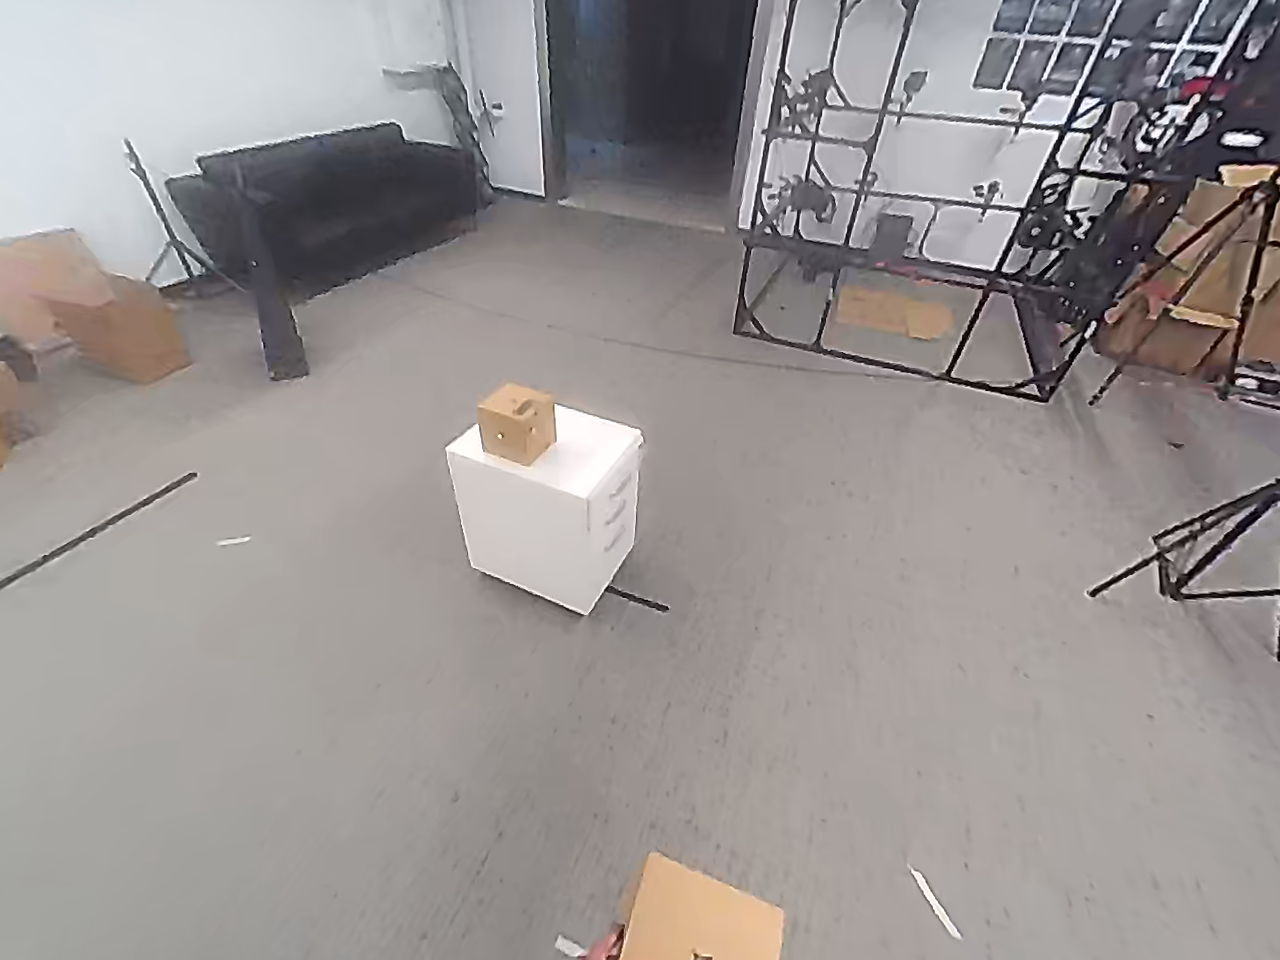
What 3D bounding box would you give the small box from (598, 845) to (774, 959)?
[{"bbox_3d":[0.040,0.567,0.630,0.168,0.176,0.179,19,49,7],"label":"small box"}]
